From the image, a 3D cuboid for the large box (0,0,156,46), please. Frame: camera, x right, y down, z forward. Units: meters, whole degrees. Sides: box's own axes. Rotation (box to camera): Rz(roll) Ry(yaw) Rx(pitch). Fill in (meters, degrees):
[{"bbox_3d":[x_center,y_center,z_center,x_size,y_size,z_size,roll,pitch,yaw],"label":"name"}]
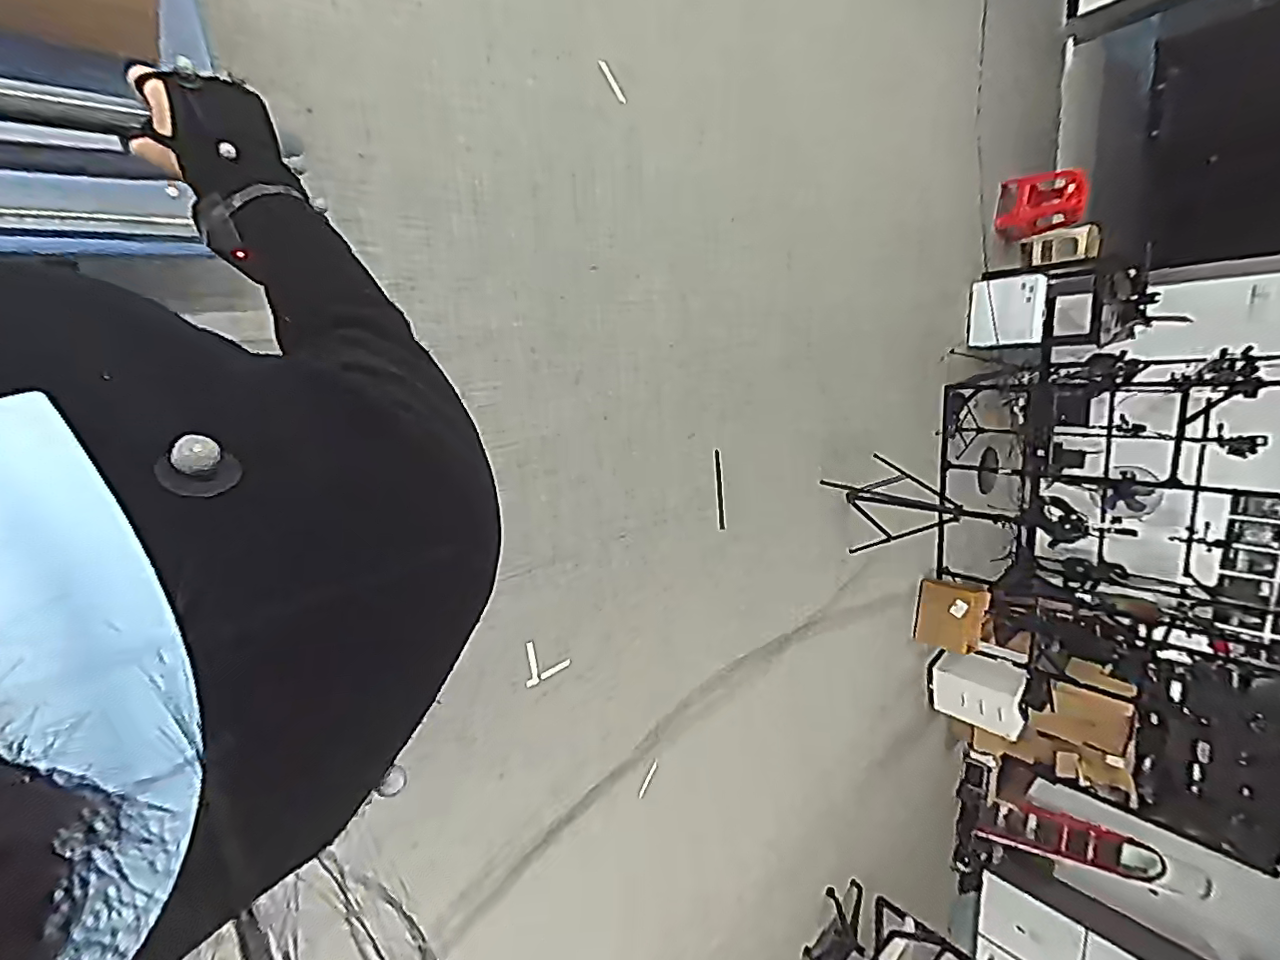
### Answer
[{"bbox_3d":[-0.912,-0.832,0.676,0.408,0.320,0.320,-16,107,-38],"label":"large box"}]
